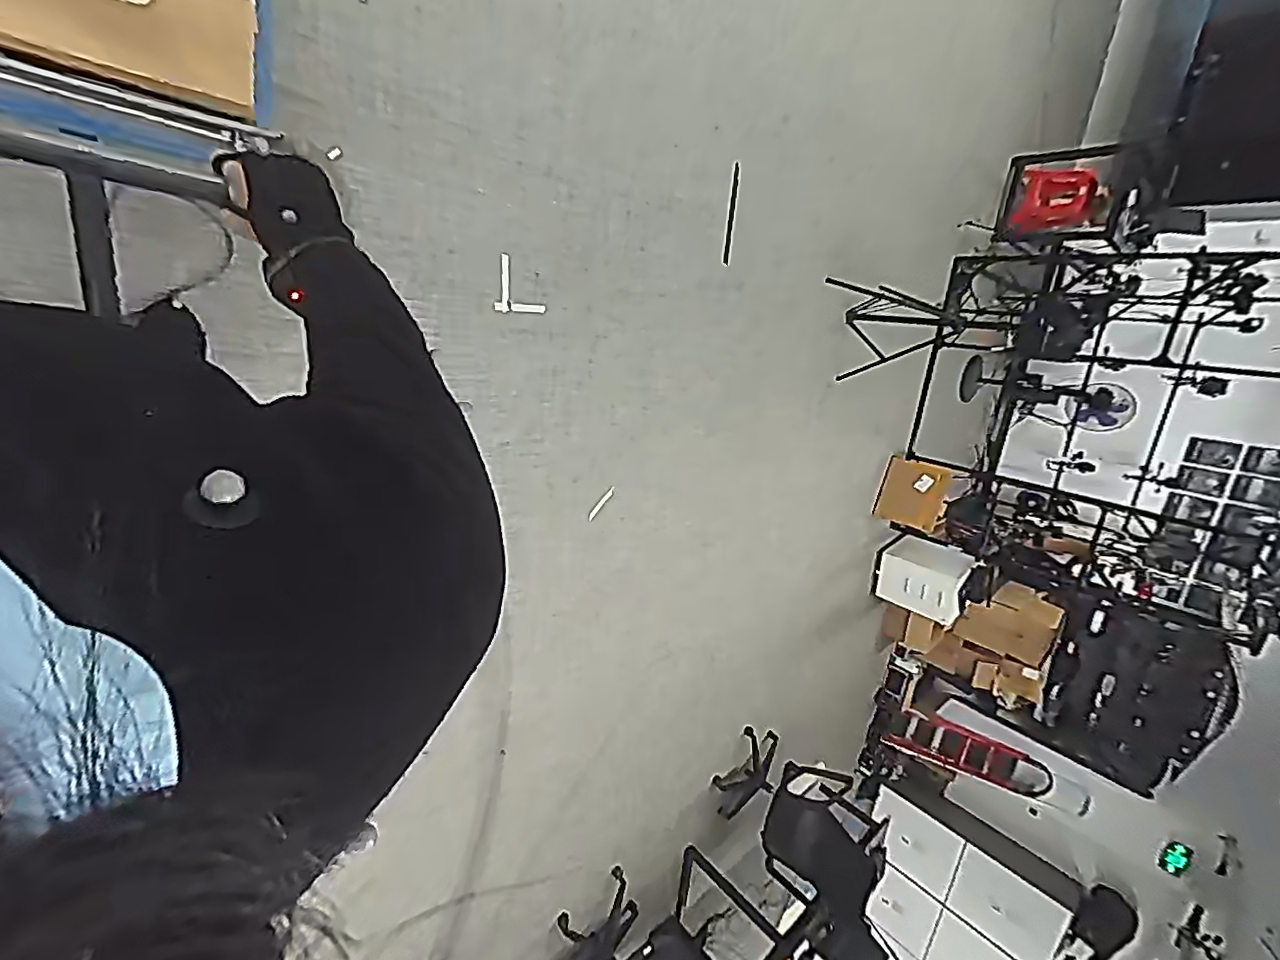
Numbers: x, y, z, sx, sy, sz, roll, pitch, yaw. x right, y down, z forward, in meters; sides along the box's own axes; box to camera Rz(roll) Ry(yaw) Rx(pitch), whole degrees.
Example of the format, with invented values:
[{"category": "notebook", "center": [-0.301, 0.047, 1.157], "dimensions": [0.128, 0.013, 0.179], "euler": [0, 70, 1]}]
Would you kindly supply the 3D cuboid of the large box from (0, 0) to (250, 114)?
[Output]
[{"category": "large box", "center": [-0.782, -0.716, 0.695], "dimensions": [0.408, 0.320, 0.320], "euler": [-8, 121, -44]}]
